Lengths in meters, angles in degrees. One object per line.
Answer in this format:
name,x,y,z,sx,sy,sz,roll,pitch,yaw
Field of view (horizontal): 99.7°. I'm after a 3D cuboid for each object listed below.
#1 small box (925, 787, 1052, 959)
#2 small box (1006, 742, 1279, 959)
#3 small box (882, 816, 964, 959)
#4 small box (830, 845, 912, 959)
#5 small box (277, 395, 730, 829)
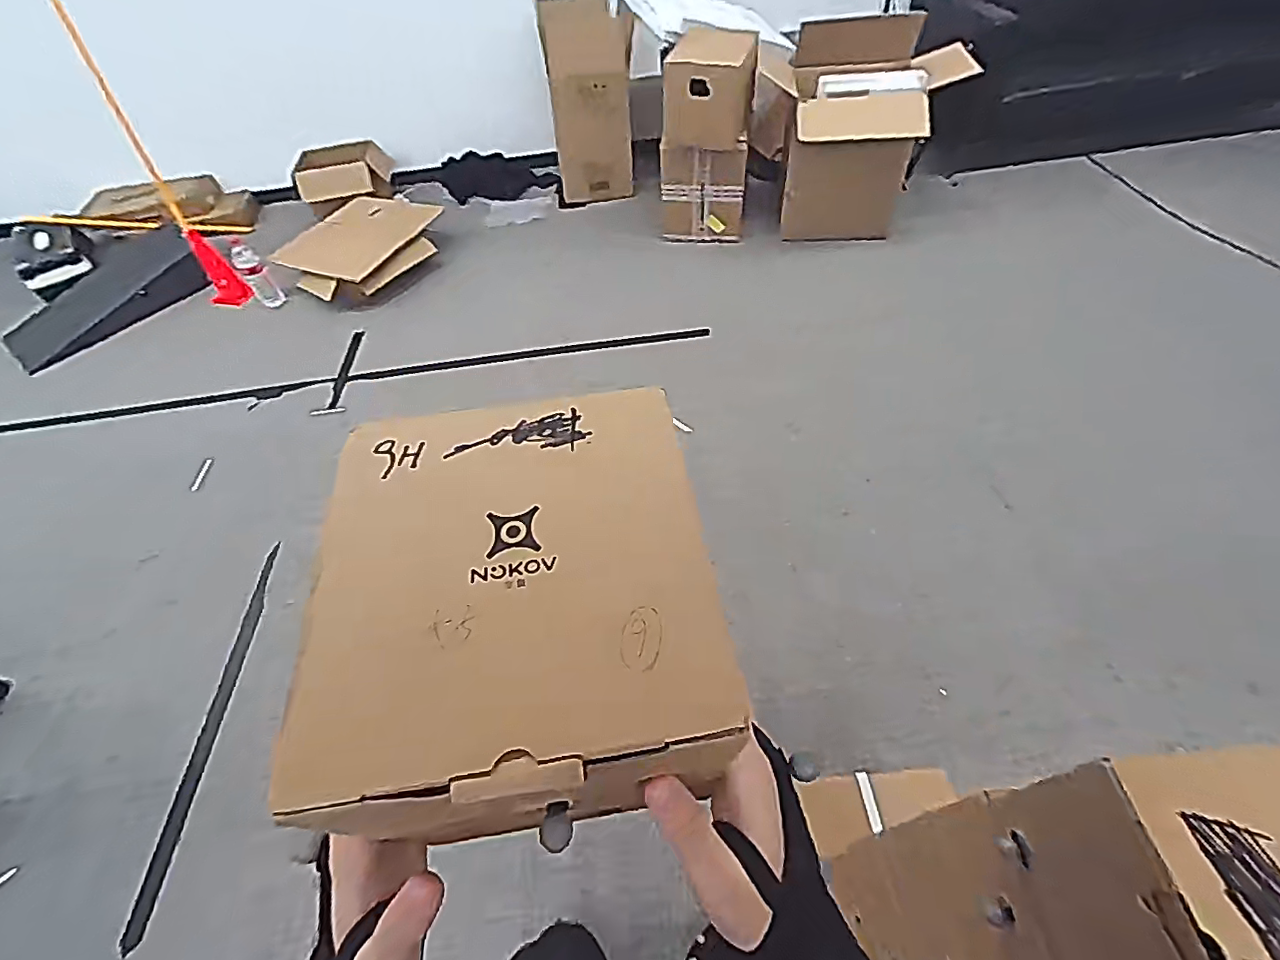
small box,0.368,0.362,0.445,0.168,0.176,0.179,-5,51,3
small box,0.354,0.262,0.315,0.179,0.176,0.168,-5,51,2
small box,0.381,0.462,0.572,0.168,0.176,0.179,-5,51,2
small box,0.408,0.668,0.827,0.168,0.176,0.179,-9,52,1
small box,-0.054,0.081,0.302,0.168,0.176,0.179,-8,54,-4
